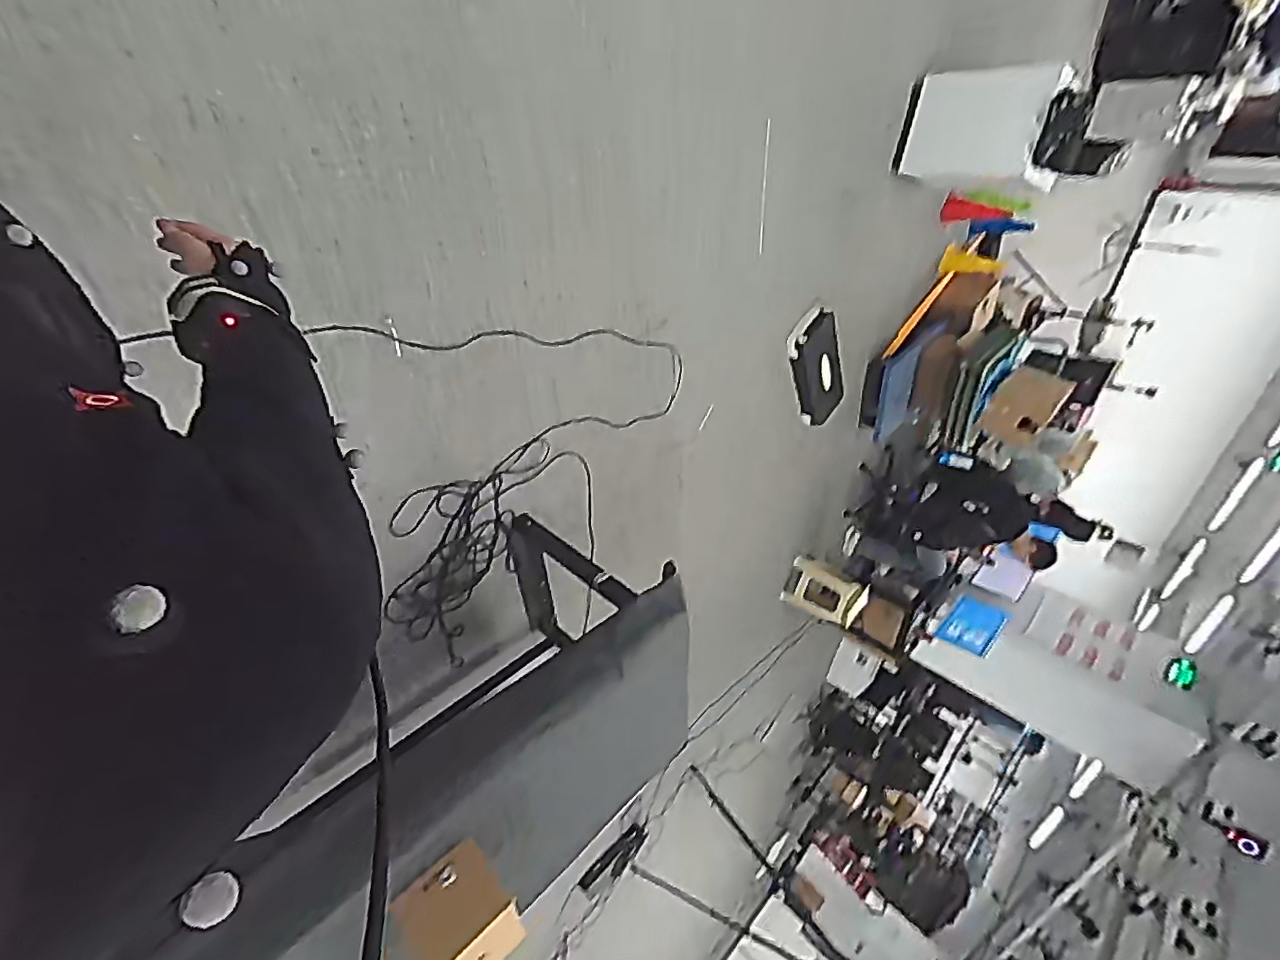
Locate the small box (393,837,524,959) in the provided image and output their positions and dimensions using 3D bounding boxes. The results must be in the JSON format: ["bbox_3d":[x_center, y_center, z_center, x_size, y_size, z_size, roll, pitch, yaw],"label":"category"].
[{"bbox_3d":[-0.351,0.850,1.055,0.168,0.176,0.179,-30,132,-36],"label":"small box"}]
